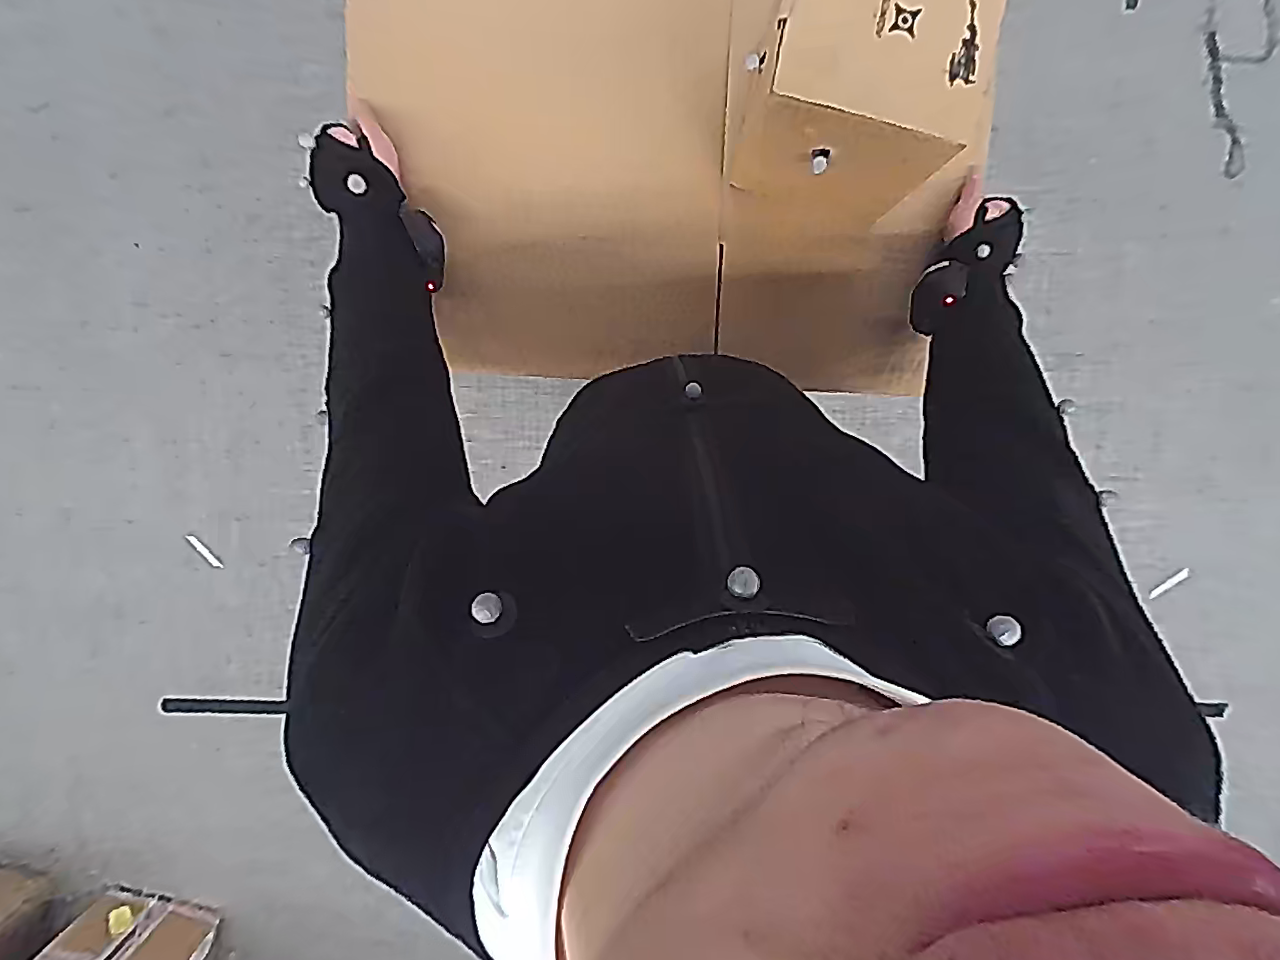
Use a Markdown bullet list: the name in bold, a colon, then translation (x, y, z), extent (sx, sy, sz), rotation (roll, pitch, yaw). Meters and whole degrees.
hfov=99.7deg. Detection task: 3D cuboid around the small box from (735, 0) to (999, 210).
- **small box**: translation (0.203, -0.390, 0.525), extent (0.179, 0.176, 0.168), rotation (13, 95, -3)
